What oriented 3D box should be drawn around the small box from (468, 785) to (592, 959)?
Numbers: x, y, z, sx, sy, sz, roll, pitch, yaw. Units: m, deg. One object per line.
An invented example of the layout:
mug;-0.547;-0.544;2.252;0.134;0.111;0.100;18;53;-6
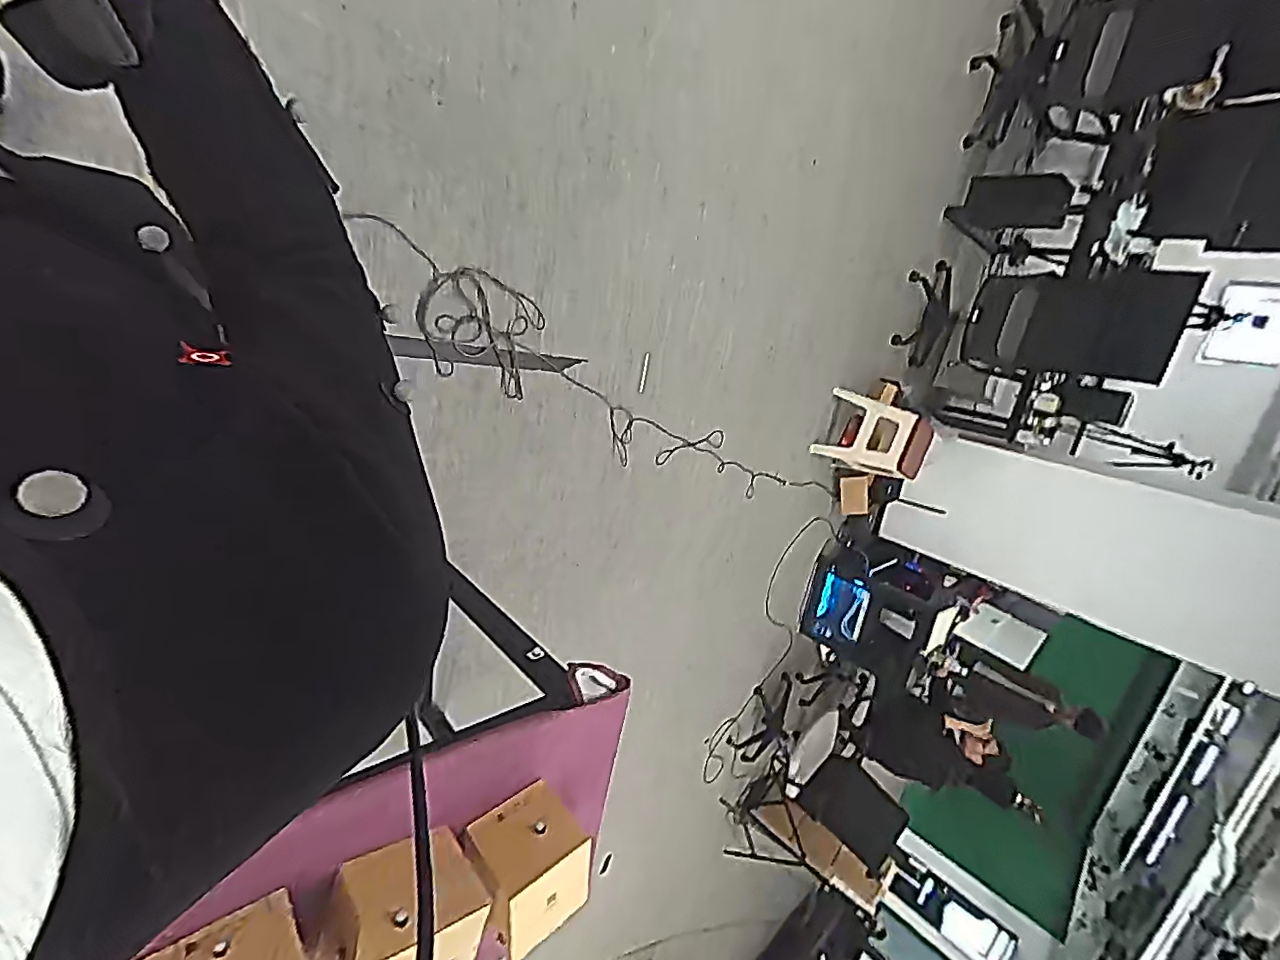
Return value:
small box;-0.207;0.707;1.002;0.168;0.176;0.179;-15;118;-41
